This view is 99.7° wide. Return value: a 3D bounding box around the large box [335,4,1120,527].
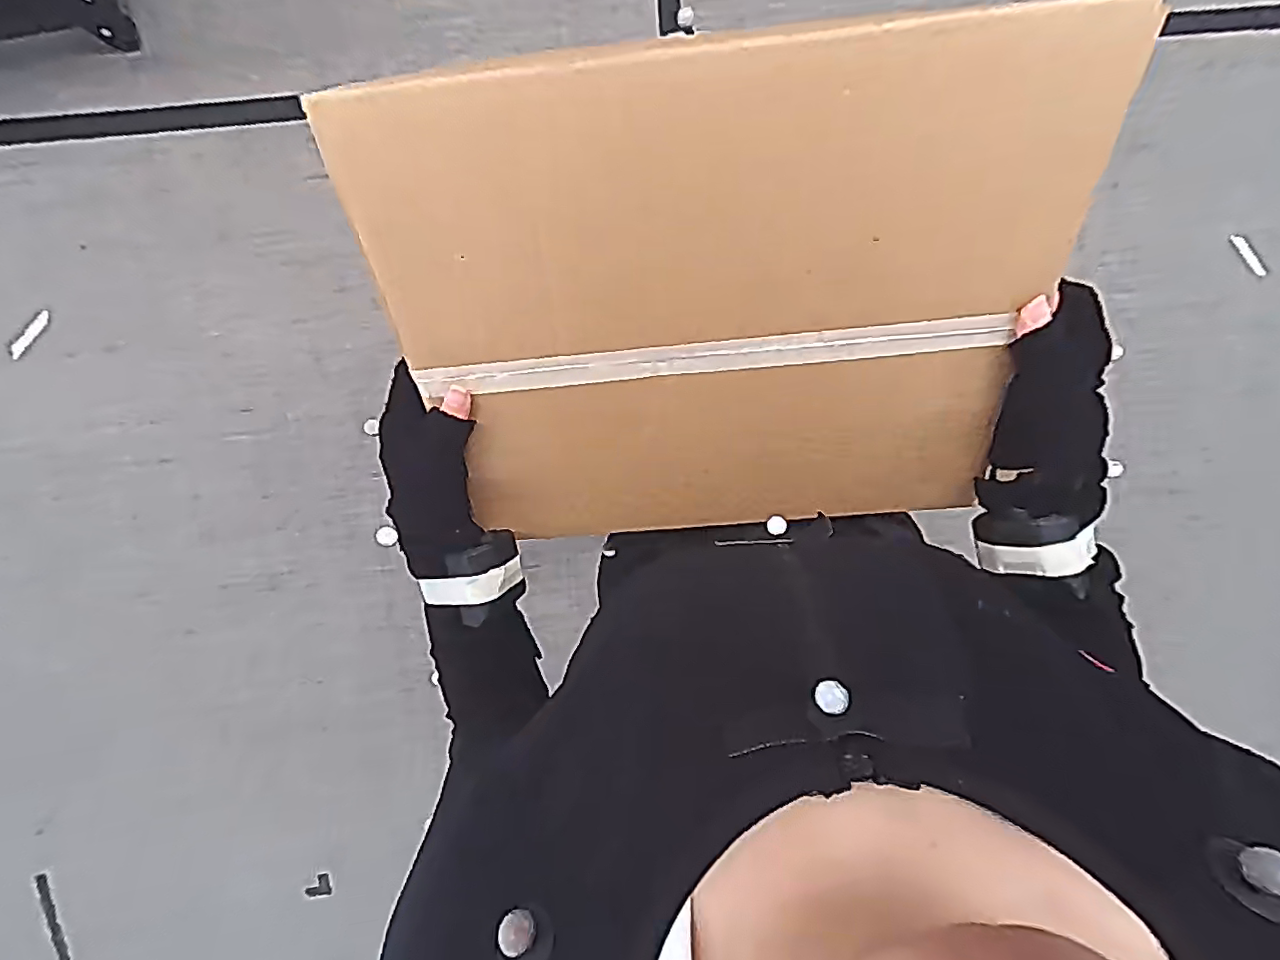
[{"bbox_3d":[0.050,-0.188,0.478,0.408,0.320,0.320,-5,130,3],"label":"large box"}]
